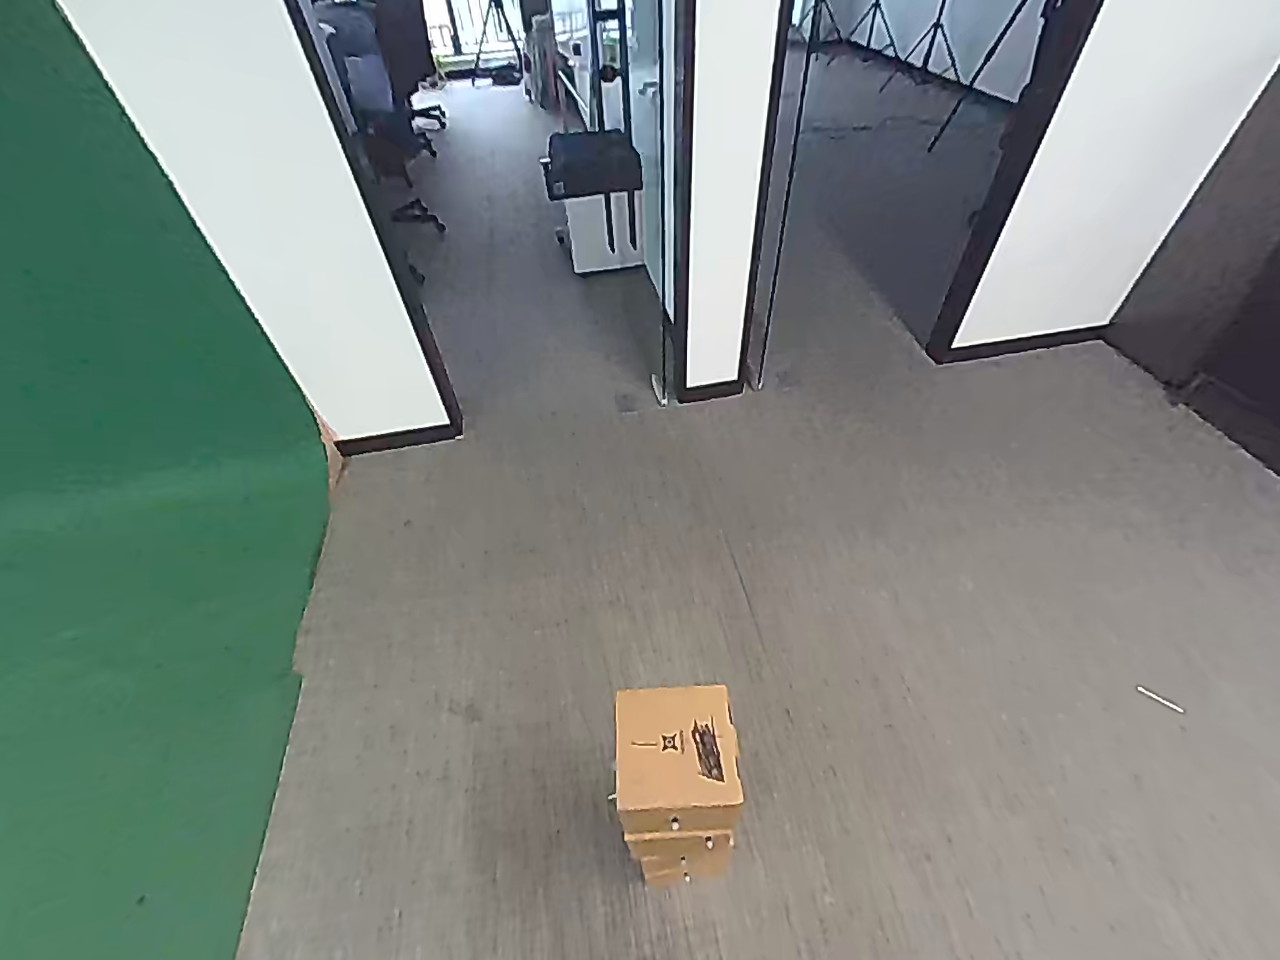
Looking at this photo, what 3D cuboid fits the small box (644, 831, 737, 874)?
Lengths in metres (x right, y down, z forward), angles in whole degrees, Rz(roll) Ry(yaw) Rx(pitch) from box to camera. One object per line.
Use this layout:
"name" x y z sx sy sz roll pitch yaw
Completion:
"small box" 0.088 0.672 1.085 0.179 0.176 0.168 -8 48 -2

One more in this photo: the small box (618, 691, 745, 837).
"small box" 0.060 0.448 0.849 0.179 0.176 0.168 -5 47 2

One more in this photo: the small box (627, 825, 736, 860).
"small box" 0.067 0.563 0.965 0.179 0.176 0.168 -5 47 -1
